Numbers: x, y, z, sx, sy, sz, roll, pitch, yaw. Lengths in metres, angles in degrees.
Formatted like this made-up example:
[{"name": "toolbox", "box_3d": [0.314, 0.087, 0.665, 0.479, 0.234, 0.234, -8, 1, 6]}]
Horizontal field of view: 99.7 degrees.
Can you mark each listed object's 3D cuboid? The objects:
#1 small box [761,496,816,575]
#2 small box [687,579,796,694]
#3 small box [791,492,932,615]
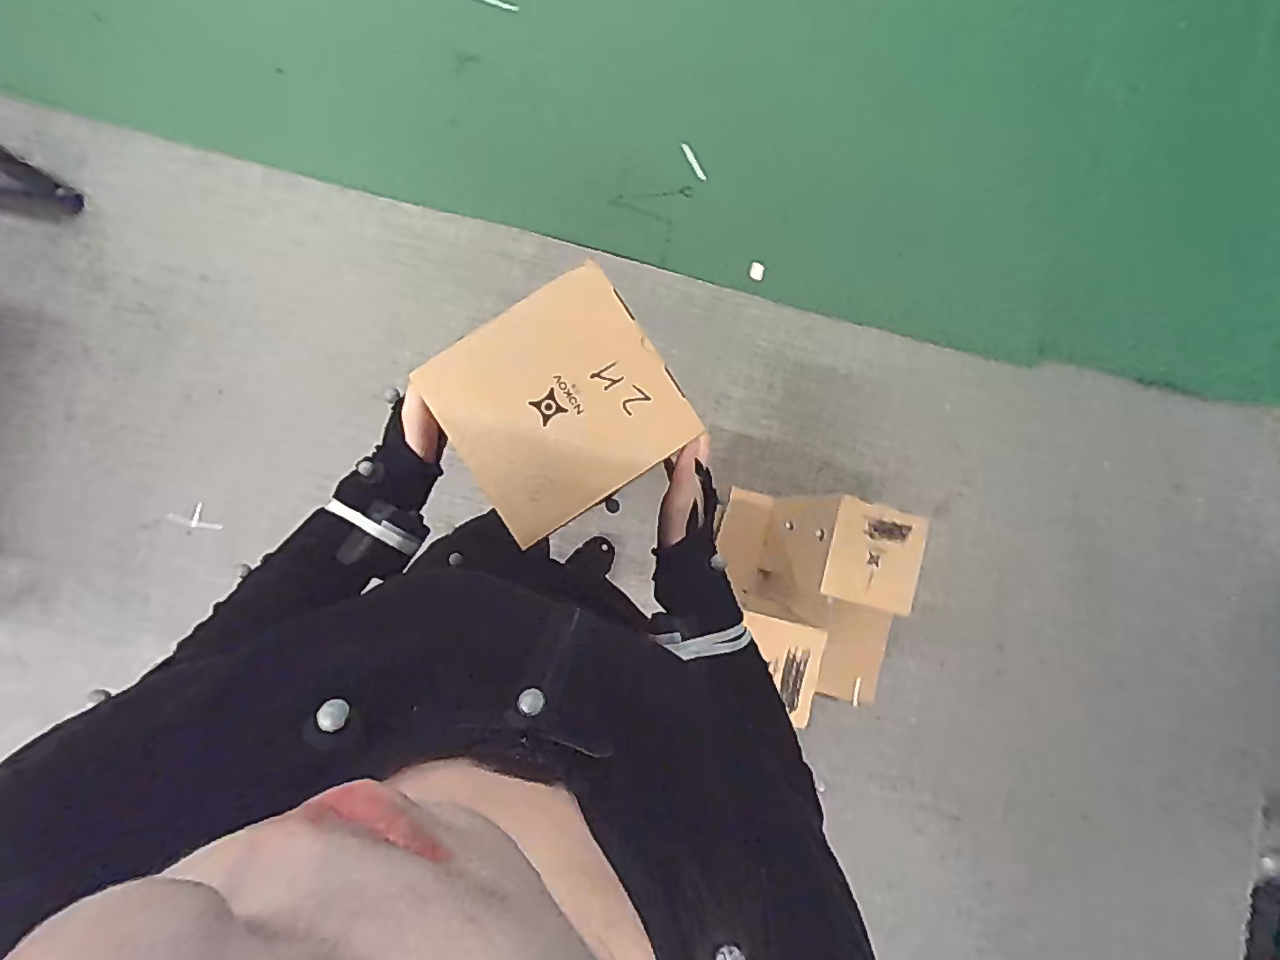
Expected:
[{"name": "small box", "box_3d": [0.385, 0.136, 1.163, 0.179, 0.176, 0.168, 16, 85, -6]}, {"name": "small box", "box_3d": [0.203, 0.320, 1.134, 0.168, 0.176, 0.179, 14, 86, -5]}, {"name": "small box", "box_3d": [0.397, 0.131, 0.997, 0.168, 0.176, 0.179, 15, 84, -5]}]
